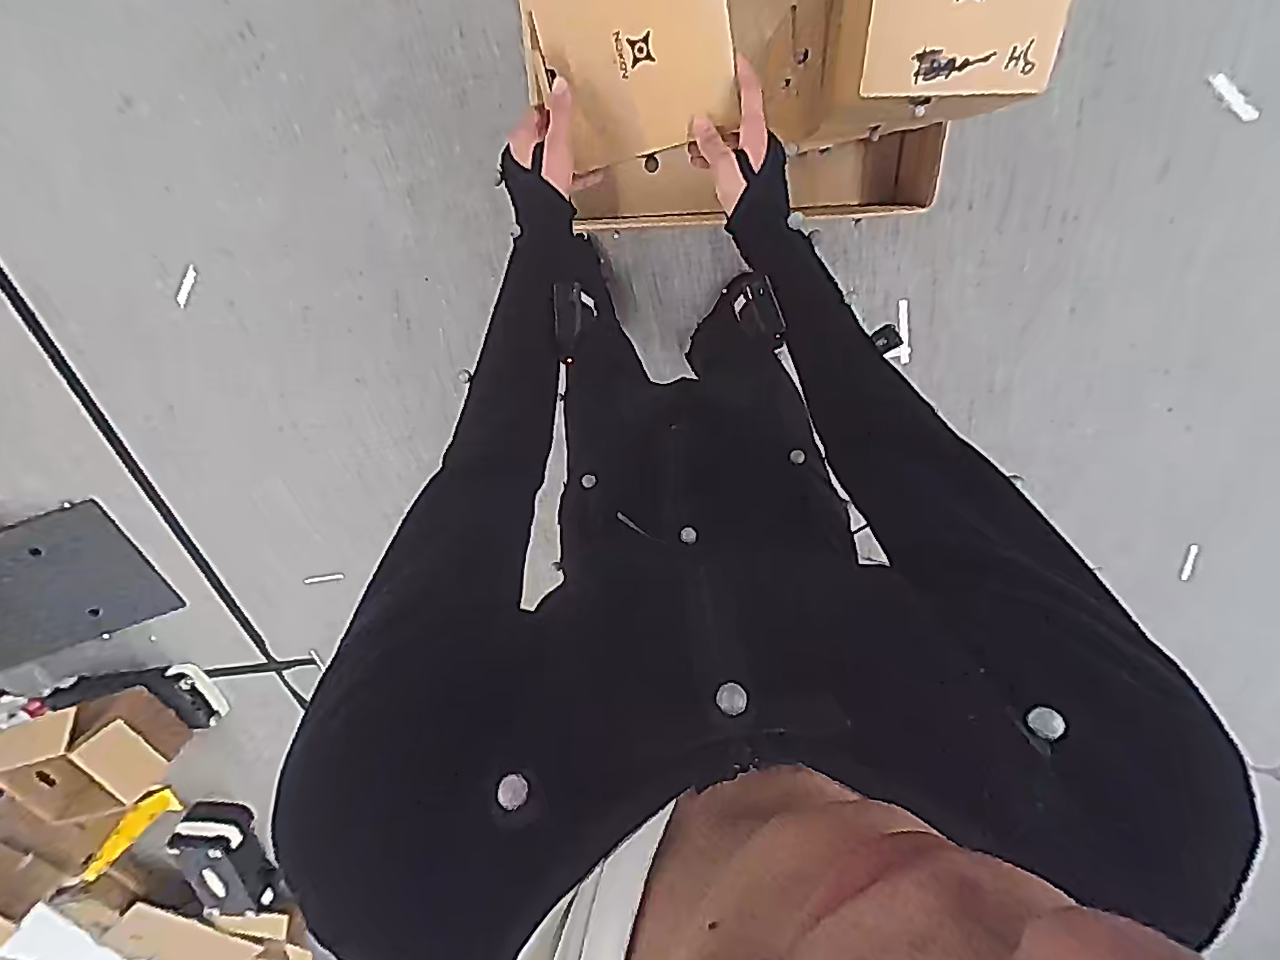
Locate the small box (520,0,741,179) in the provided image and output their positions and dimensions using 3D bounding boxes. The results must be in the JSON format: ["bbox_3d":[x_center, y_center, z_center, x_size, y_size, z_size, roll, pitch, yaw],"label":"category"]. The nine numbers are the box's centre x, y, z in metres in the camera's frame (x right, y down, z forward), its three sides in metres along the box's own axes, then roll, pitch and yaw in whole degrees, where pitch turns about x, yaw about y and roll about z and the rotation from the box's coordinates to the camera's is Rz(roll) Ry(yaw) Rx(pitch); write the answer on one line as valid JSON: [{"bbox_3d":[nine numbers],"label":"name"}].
[{"bbox_3d":[-0.003,-0.426,0.551,0.179,0.176,0.168,-11,121,10],"label":"small box"}]

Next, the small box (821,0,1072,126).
[{"bbox_3d":[0.281,-0.454,0.514,0.168,0.176,0.179,2,116,4],"label":"small box"}]

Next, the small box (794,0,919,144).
[{"bbox_3d":[0.290,-0.524,0.662,0.179,0.176,0.168,-4,117,6],"label":"small box"}]
